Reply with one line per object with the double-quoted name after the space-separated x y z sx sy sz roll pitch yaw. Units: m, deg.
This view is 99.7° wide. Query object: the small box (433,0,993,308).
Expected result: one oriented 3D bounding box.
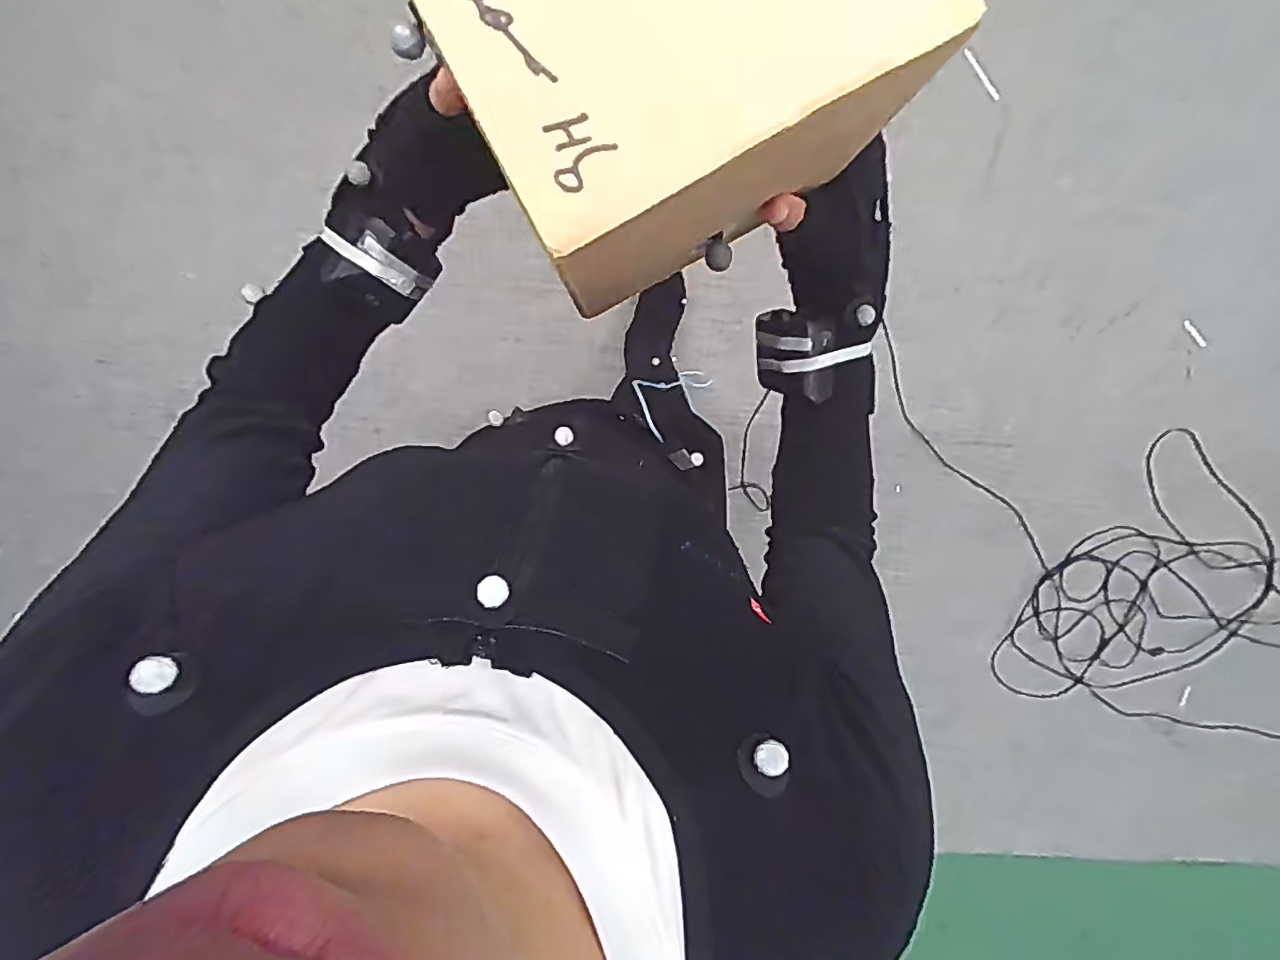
0.010 -0.205 0.259 0.179 0.176 0.168 -28 99 2 "small box"
